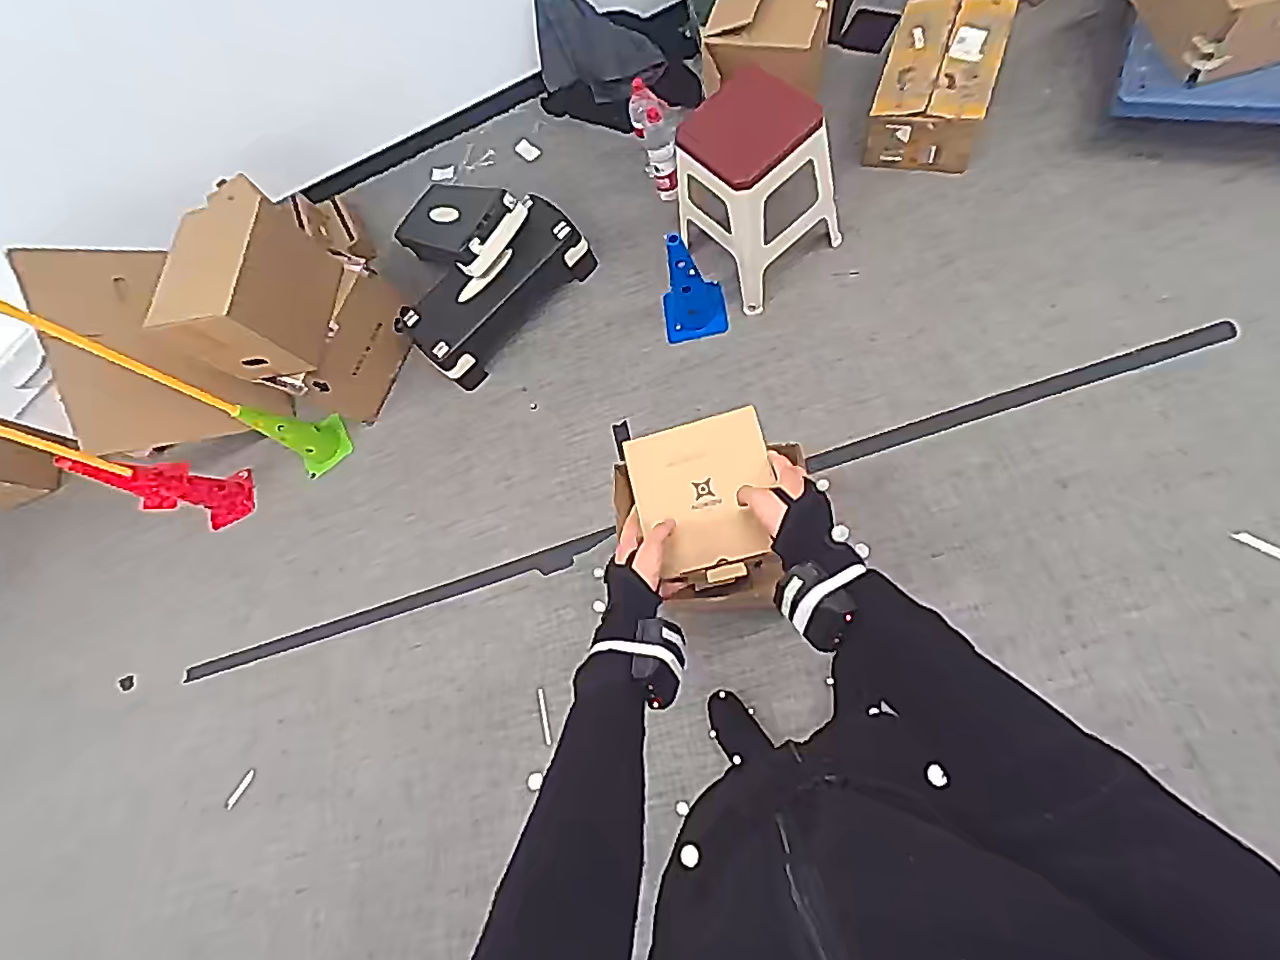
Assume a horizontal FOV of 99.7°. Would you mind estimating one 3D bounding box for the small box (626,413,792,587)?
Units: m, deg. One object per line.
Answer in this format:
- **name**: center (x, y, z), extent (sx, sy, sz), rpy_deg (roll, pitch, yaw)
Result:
- **small box**: center (0.093, 0.038, 0.706), extent (0.168, 0.176, 0.179), rpy_deg (-15, 74, 9)
